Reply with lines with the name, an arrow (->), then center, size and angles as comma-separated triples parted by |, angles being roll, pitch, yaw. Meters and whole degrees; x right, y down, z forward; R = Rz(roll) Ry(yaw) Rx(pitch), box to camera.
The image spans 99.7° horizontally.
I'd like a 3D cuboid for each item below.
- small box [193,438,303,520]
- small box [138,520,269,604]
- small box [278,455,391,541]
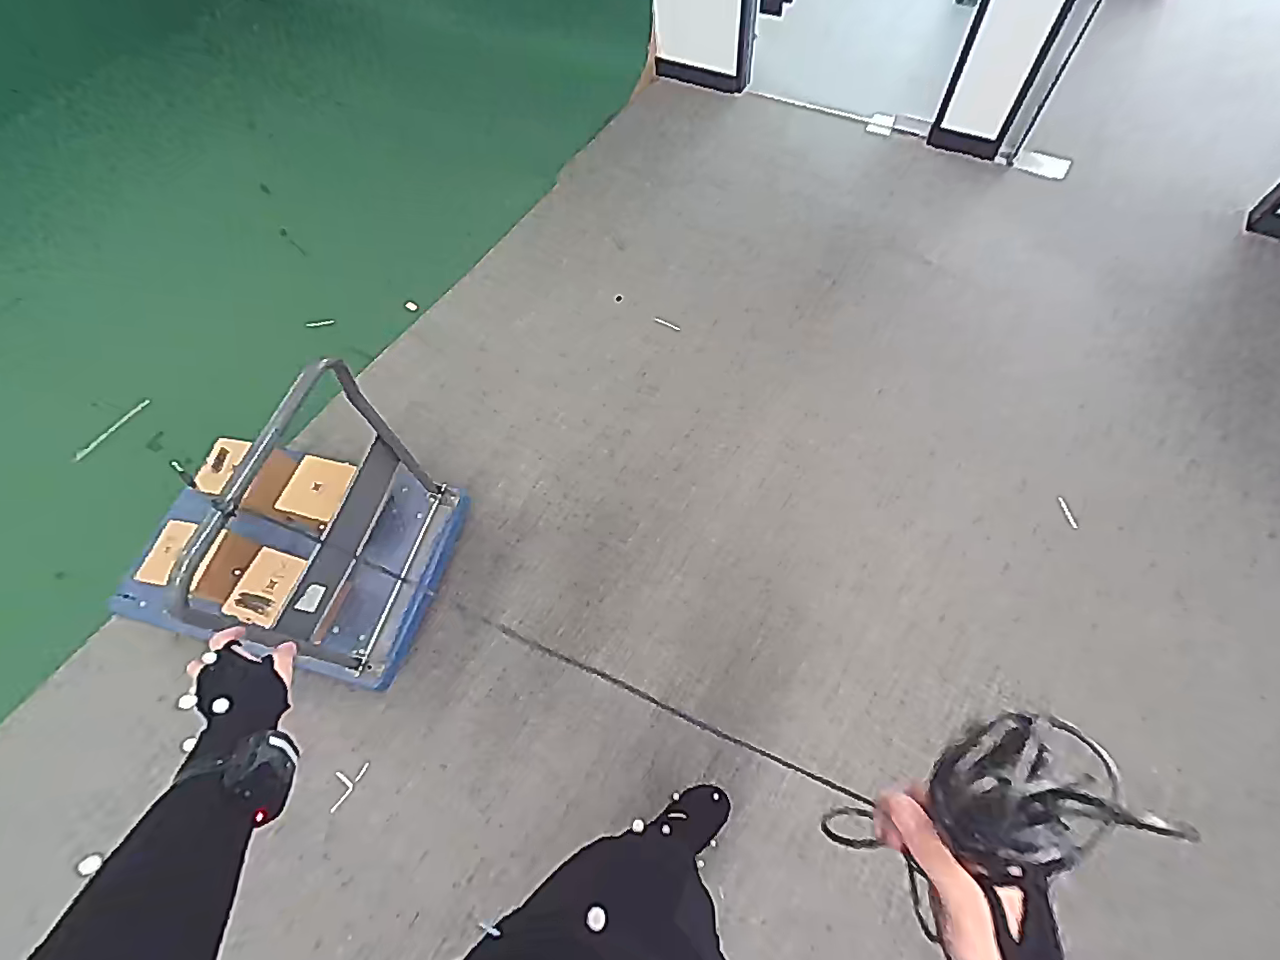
small box -> -1.097, 0.001, 1.545 | 0.179, 0.176, 0.168 | 9, 65, 8
small box -> -1.144, 0.223, 1.437 | 0.179, 0.176, 0.168 | 8, 64, 9
small box -> -0.836, 0.055, 1.498 | 0.179, 0.176, 0.168 | 13, 65, 10
